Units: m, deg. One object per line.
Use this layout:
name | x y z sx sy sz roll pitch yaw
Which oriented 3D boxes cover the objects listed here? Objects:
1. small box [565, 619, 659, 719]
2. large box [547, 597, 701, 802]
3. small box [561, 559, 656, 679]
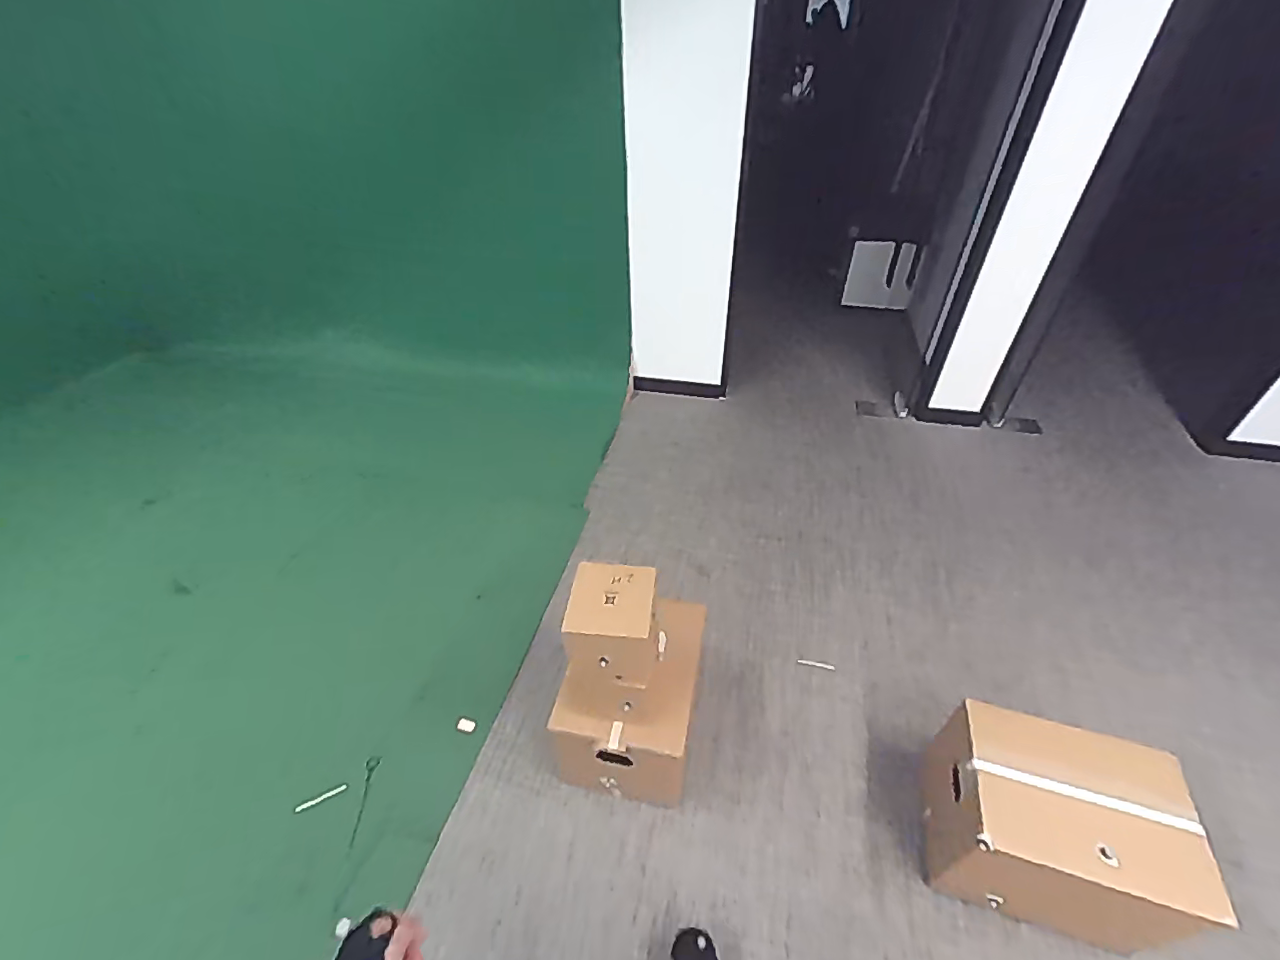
small box | -0.055 0.417 1.221 0.179 0.176 0.168 6 40 10
large box | -0.019 0.558 1.429 0.320 0.320 0.408 8 41 10
small box | -0.056 0.288 1.118 0.168 0.176 0.179 4 40 6
